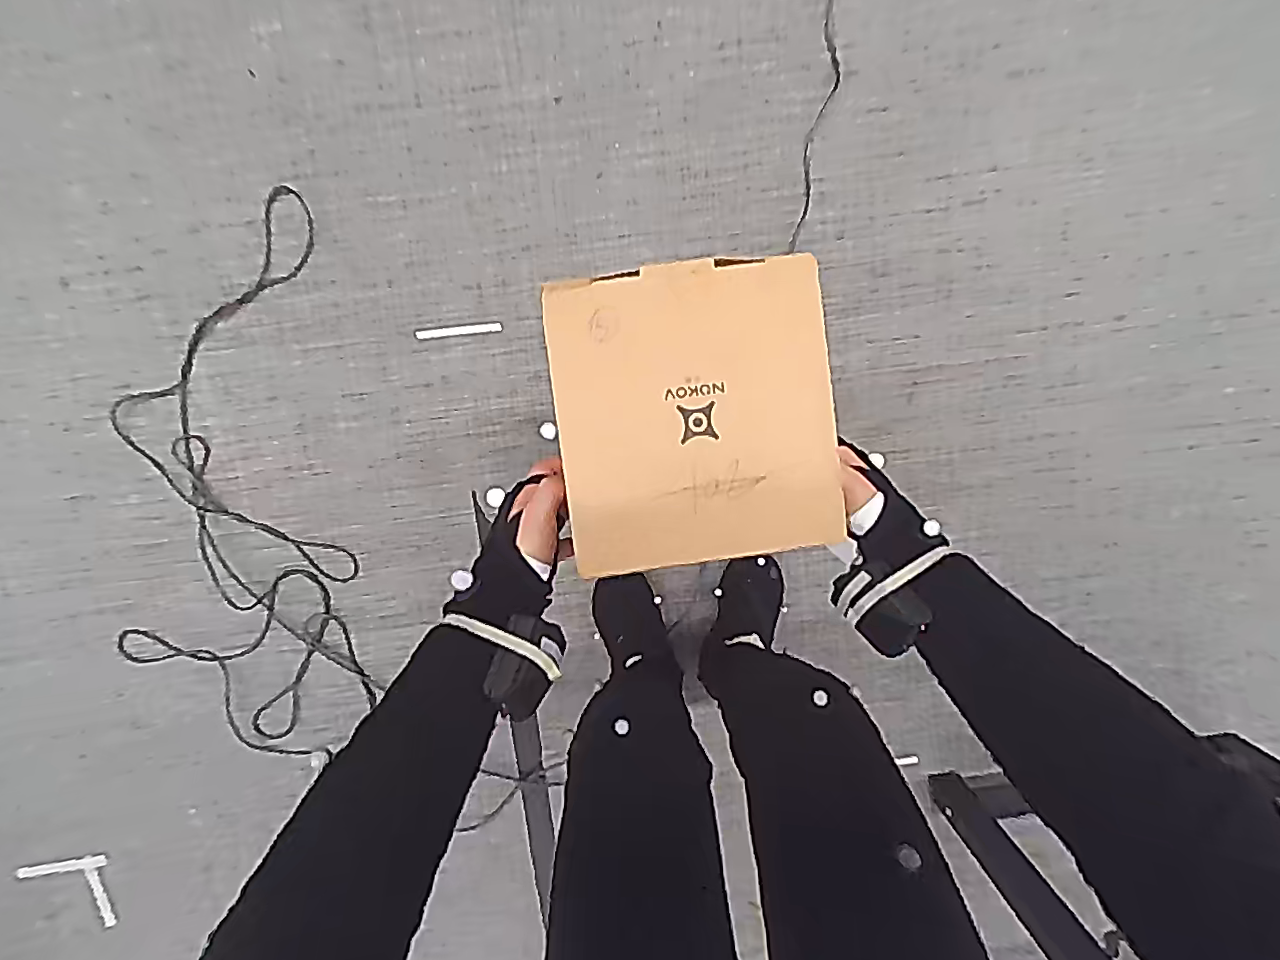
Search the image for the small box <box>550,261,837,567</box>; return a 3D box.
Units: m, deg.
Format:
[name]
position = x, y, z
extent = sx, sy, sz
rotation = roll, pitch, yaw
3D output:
[small box]
position = 0.031, -0.044, 0.416
extent = 0.168, 0.176, 0.179
rotation = -8, 93, -2
